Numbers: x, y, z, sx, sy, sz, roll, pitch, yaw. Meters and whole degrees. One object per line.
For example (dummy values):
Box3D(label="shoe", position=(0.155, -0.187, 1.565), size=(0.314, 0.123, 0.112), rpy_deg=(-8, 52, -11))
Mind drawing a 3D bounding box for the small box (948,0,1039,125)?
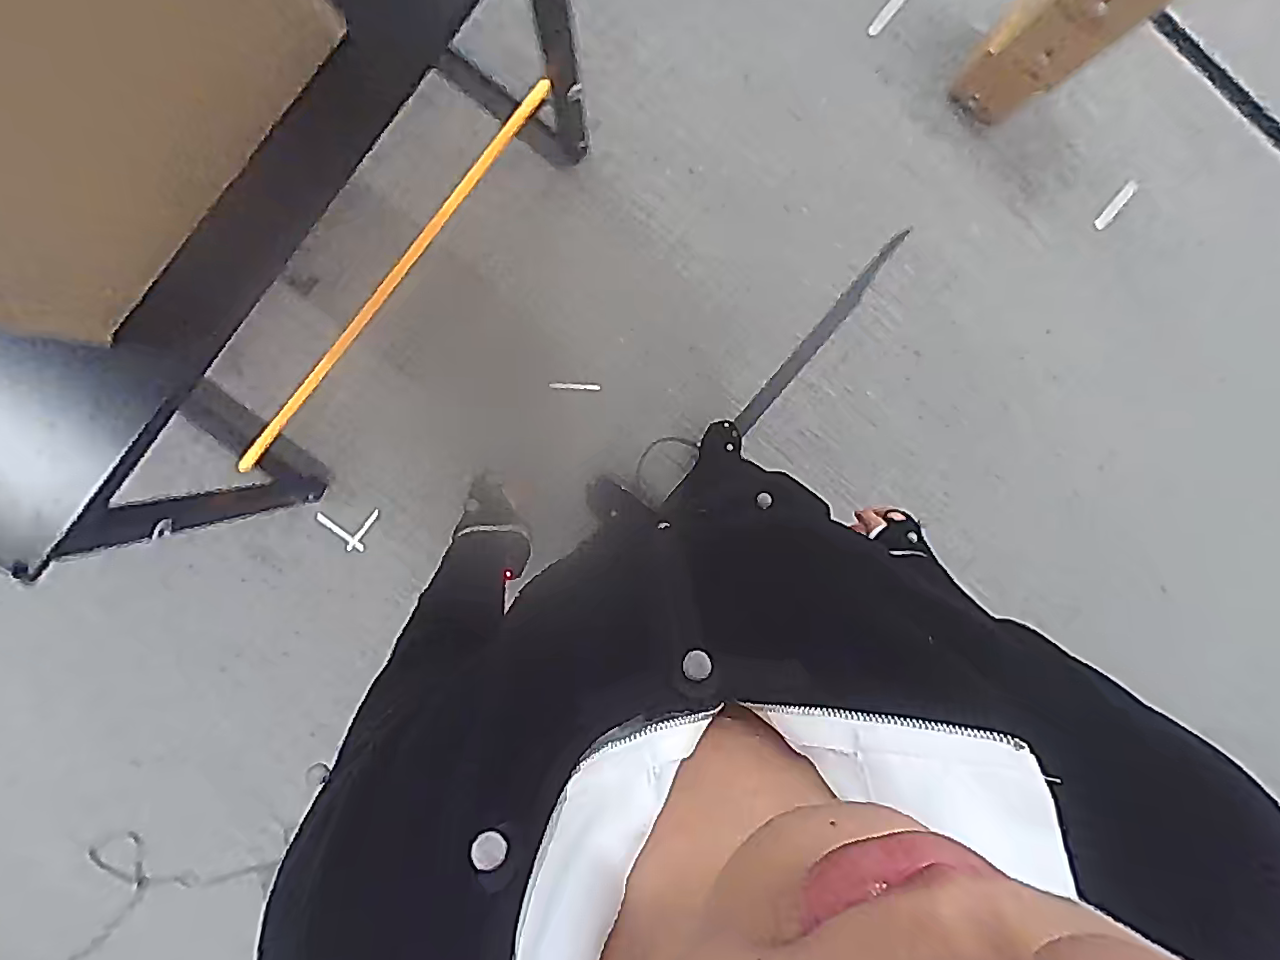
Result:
Box3D(label="small box", position=(0.915, -1.042, 1.343), size=(0.168, 0.176, 0.179), rpy_deg=(33, 95, -4))

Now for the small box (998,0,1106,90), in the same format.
Box3D(label="small box", position=(0.933, -1.015, 1.182), size=(0.168, 0.176, 0.179), rpy_deg=(32, 94, -4))

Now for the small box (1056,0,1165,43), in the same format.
Box3D(label="small box", position=(0.947, -0.998, 1.017), size=(0.168, 0.176, 0.179), rpy_deg=(37, 93, -4))
